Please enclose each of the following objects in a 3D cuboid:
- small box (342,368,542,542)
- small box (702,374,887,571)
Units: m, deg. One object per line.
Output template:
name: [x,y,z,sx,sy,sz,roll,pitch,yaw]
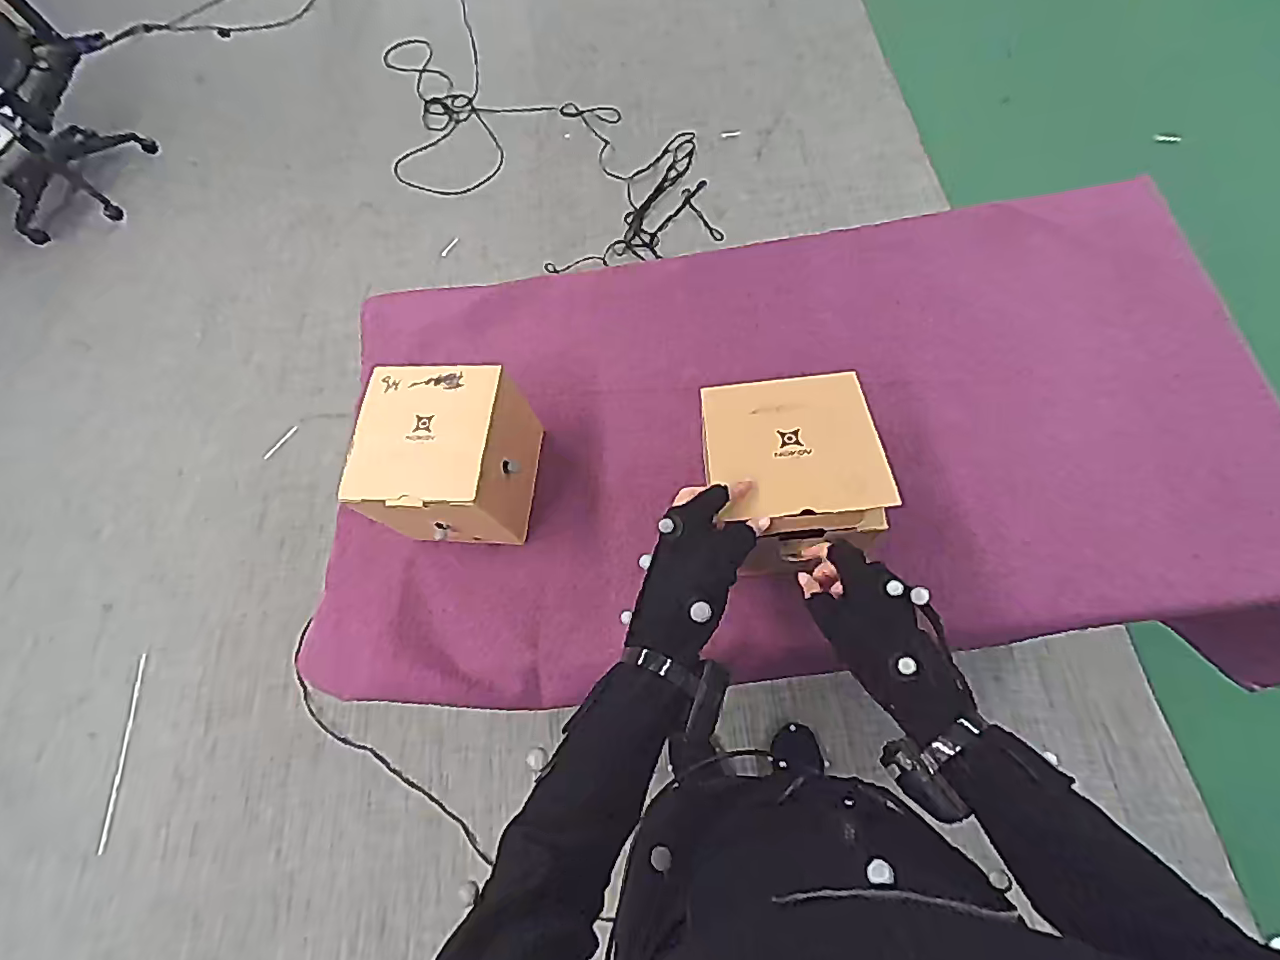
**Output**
small box: [-0.235,-0.024,0.691,0.168,0.176,0.179,2,69,9]
small box: [0.162,0.004,0.621,0.168,0.176,0.179,-5,67,6]
